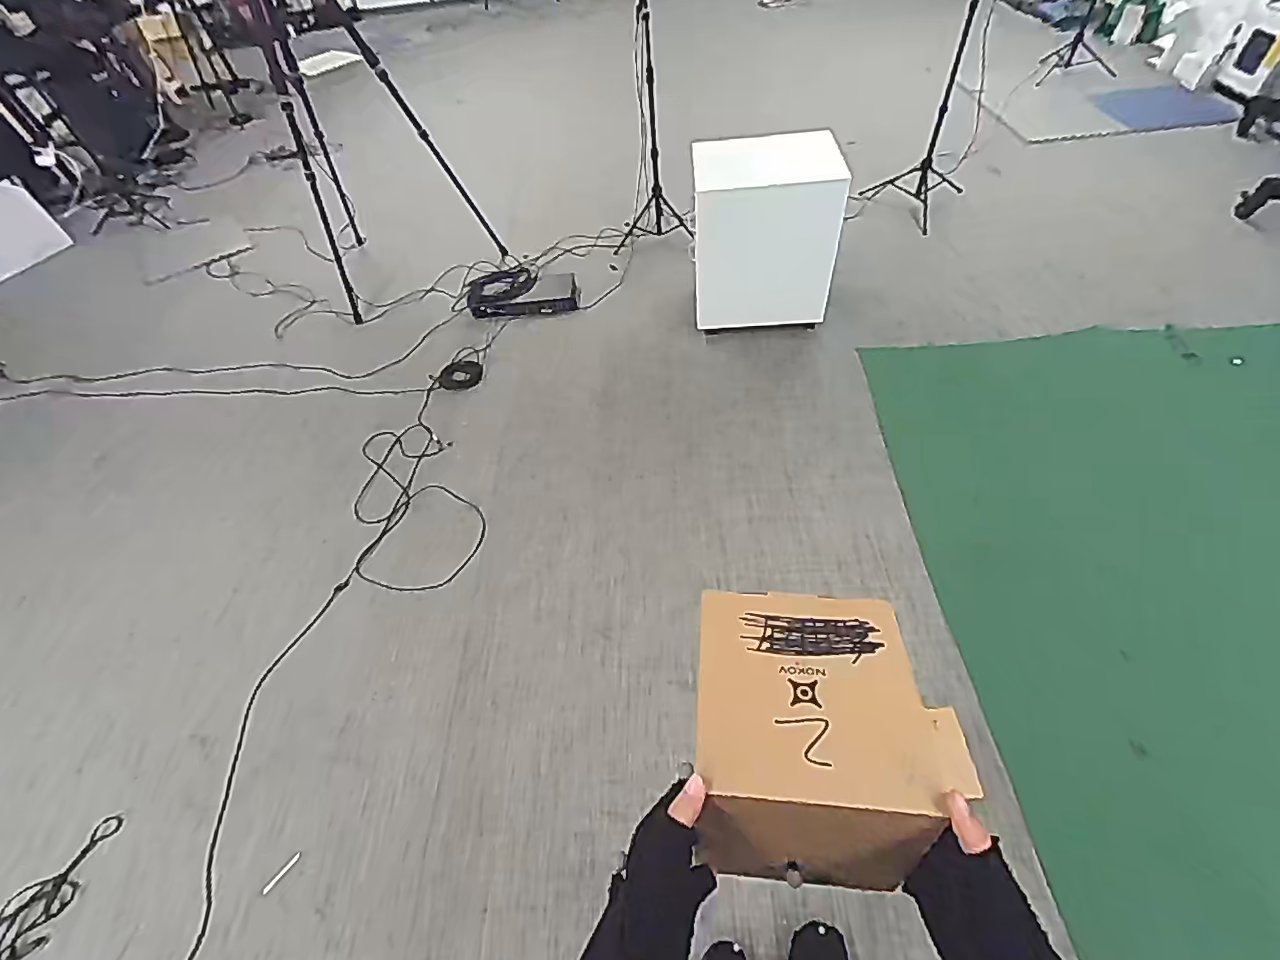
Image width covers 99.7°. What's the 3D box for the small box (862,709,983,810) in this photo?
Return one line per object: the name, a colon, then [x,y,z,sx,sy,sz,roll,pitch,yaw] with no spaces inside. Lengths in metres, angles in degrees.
small box: [0.607,0.617,1.187,0.168,0.176,0.179,-3,52,3]
